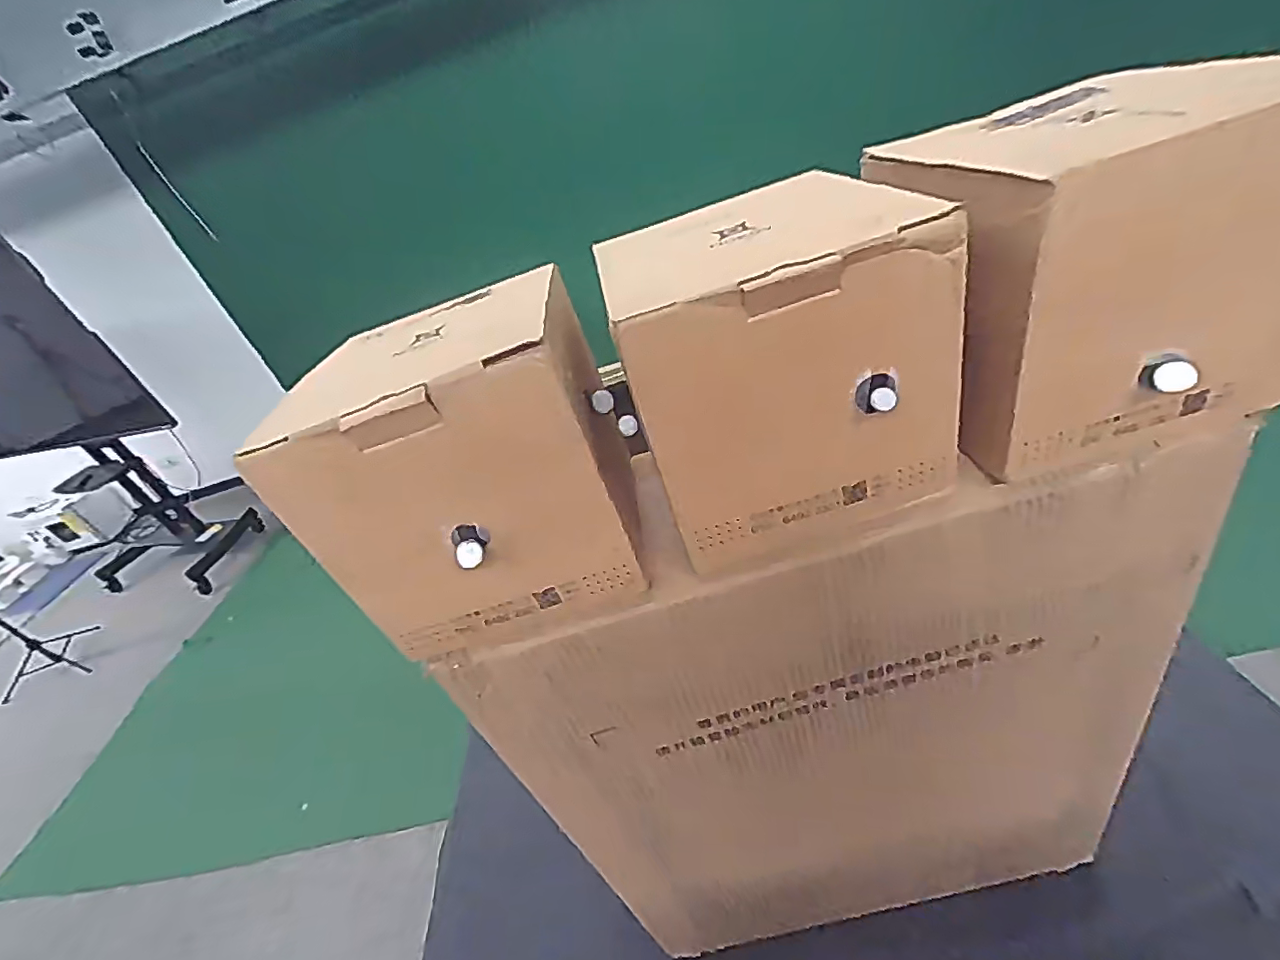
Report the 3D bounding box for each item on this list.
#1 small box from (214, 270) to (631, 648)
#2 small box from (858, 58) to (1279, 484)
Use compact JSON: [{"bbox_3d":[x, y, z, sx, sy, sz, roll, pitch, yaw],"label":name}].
[{"bbox_3d":[-0.111,-0.011,0.363,0.168,0.176,0.179,-18,34,6],"label":"small box"},{"bbox_3d":[0.249,-0.125,0.328,0.168,0.176,0.179,-17,35,5],"label":"small box"}]
